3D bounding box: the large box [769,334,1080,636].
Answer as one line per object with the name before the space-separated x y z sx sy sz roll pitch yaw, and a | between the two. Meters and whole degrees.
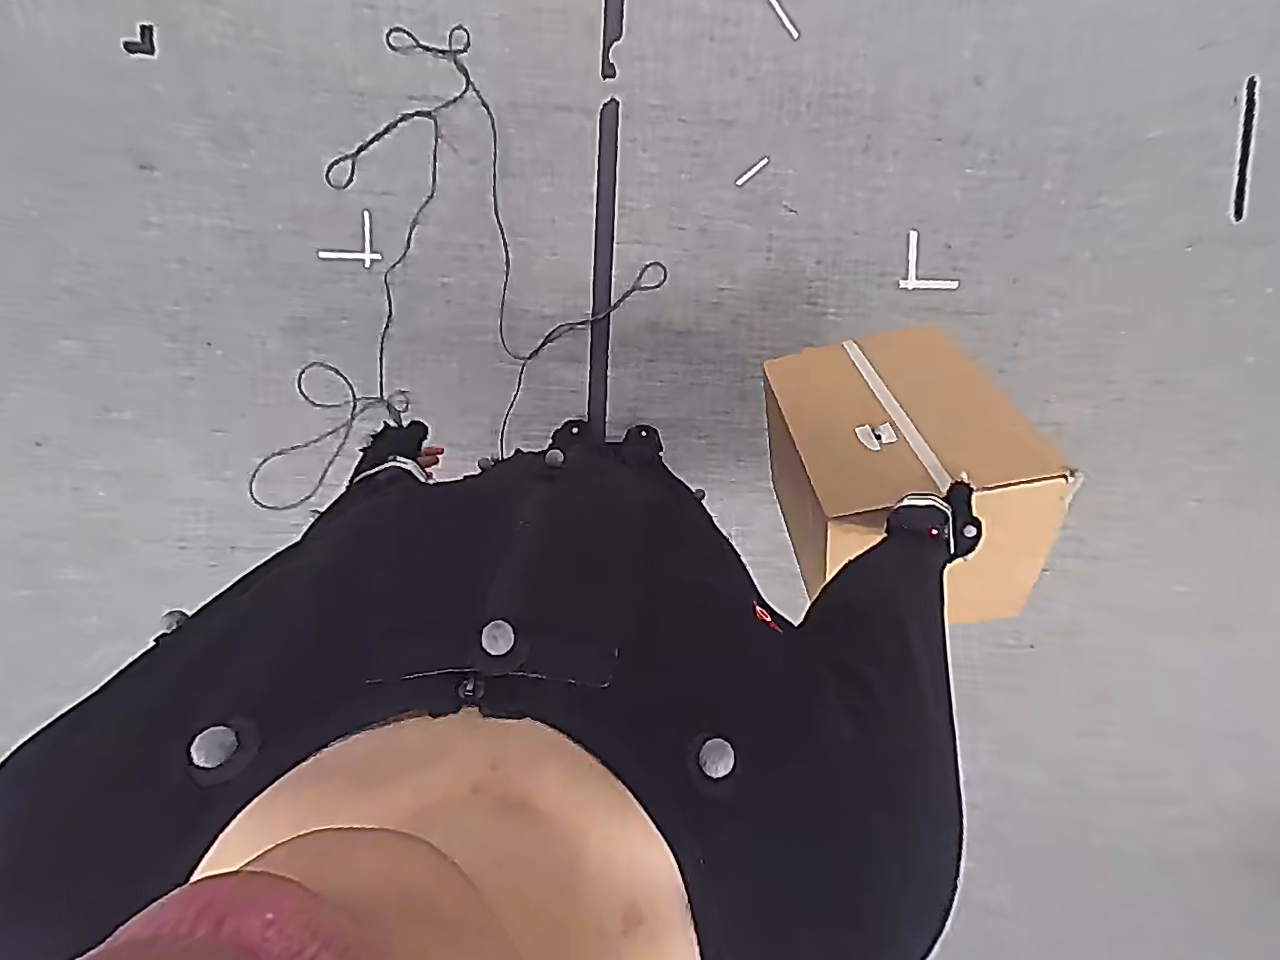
large box | 0.429 0.002 0.945 0.320 0.408 0.320 -11 133 7
